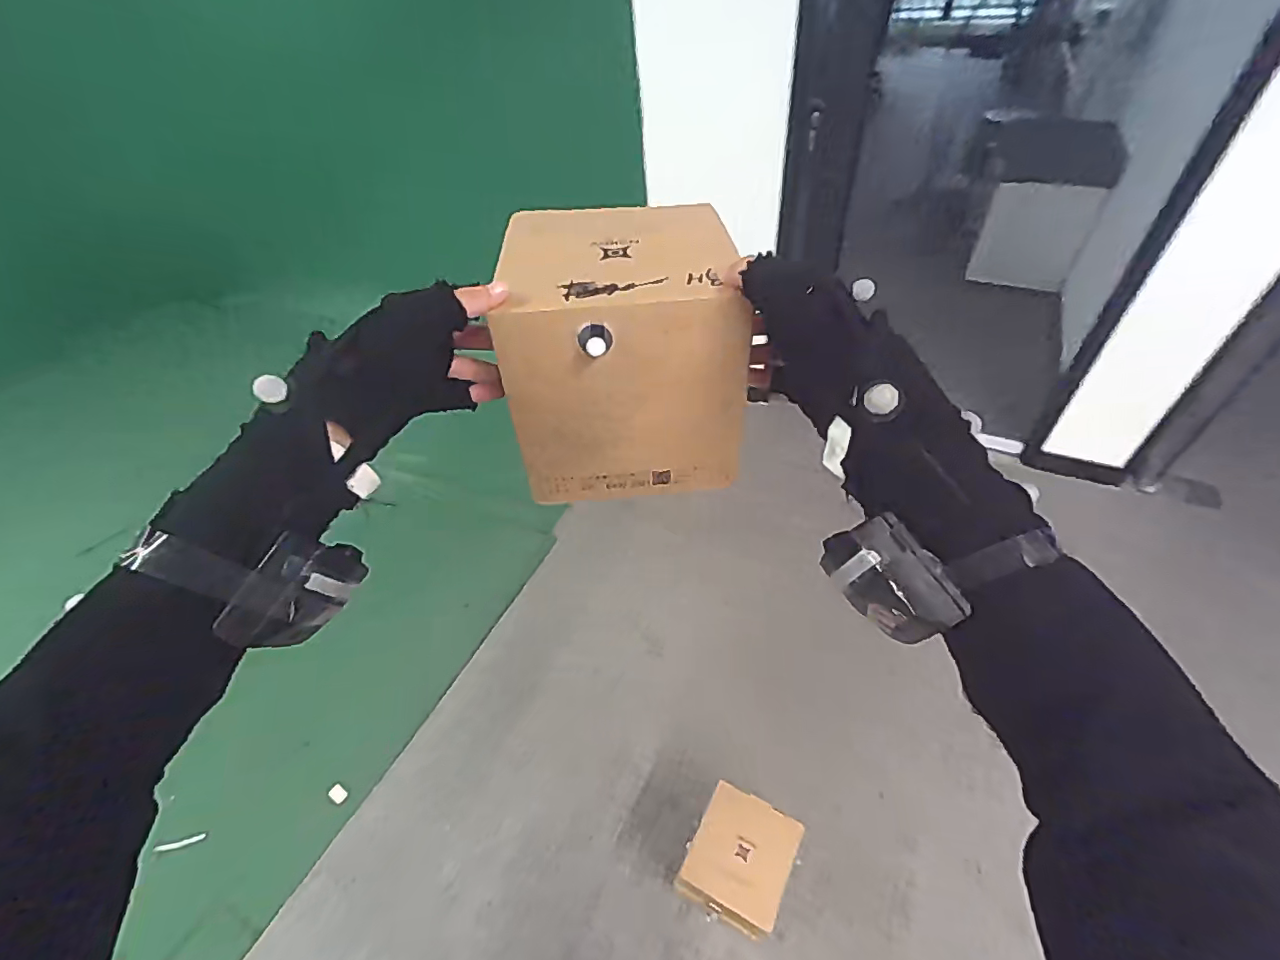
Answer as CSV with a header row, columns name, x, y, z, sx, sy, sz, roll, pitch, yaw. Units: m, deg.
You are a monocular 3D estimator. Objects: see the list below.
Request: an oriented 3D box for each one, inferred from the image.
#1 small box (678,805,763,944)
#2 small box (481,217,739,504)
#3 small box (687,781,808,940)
name,x,y,z,sx,sy,sz,roll,pitch,yaw
small box,0.195,0.817,1.120,0.179,0.176,0.168,18,51,24
small box,-0.021,-0.102,0.451,0.168,0.176,0.179,-5,42,-1
small box,0.197,0.705,1.004,0.168,0.176,0.179,17,52,24
